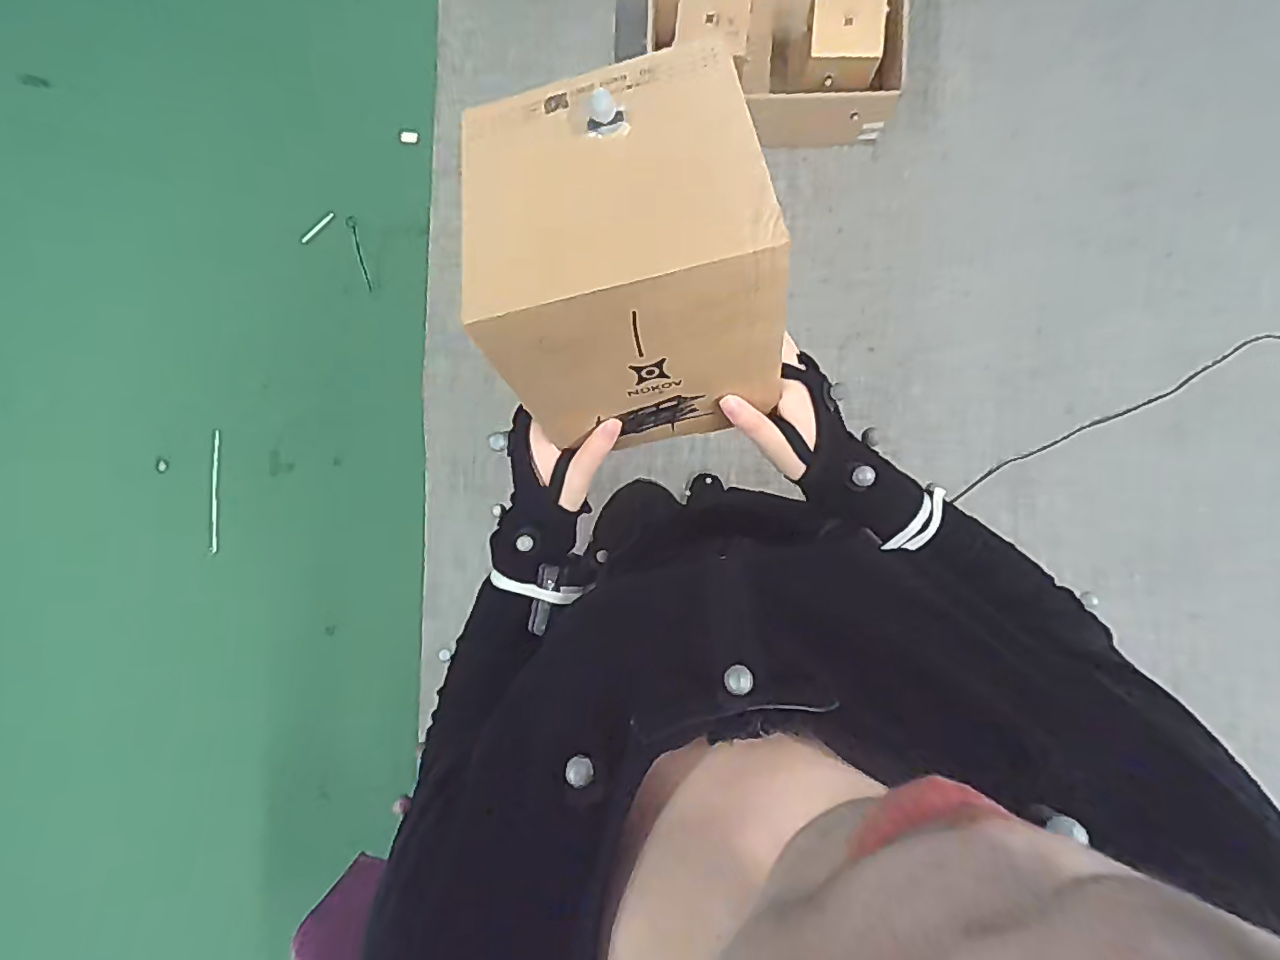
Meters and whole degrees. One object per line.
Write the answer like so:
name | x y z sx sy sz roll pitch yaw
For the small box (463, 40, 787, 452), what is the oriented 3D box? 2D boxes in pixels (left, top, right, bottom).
small box | -0.004 -0.142 0.372 0.168 0.179 0.176 -11 66 7

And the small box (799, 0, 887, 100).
small box | 0.492 -1.073 1.329 0.168 0.176 0.179 4 91 5
